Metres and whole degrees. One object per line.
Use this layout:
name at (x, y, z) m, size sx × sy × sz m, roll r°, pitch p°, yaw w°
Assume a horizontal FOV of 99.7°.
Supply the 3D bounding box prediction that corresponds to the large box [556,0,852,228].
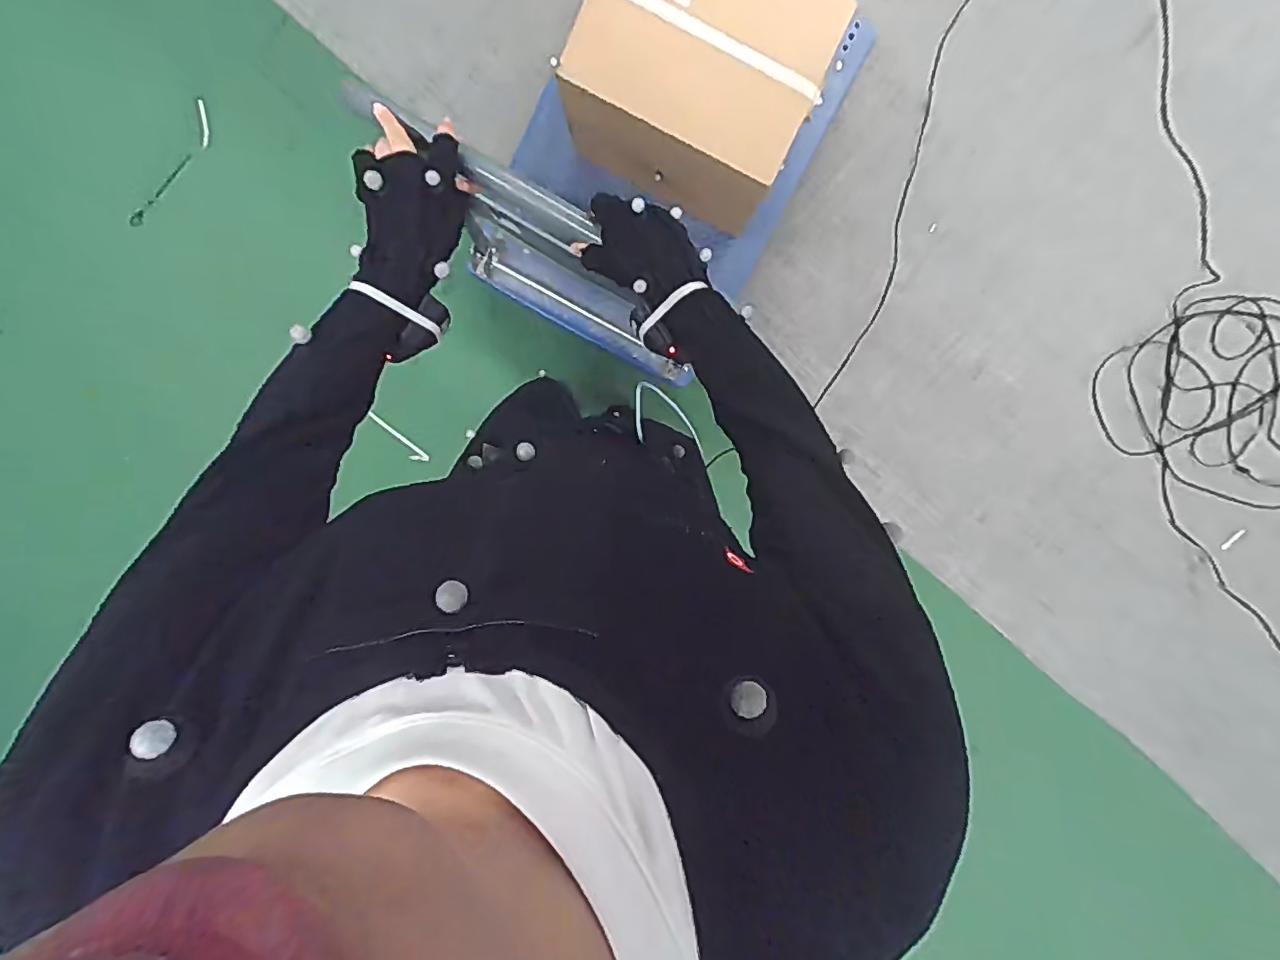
large box at (0.105, -0.748, 1.028) m, size 0.408 × 0.320 × 0.320 m, roll 25°, pitch 98°, yaw -4°
